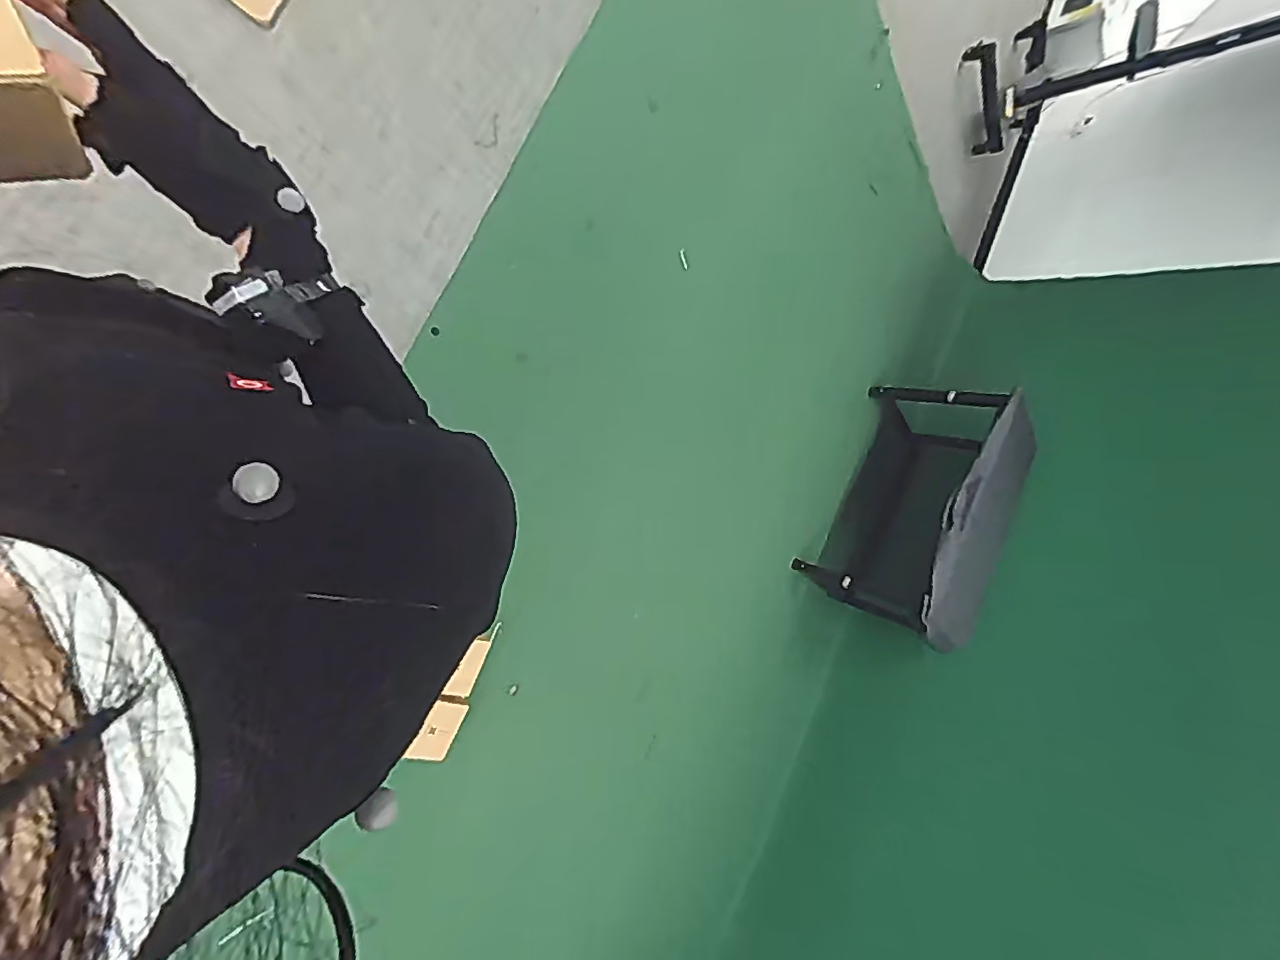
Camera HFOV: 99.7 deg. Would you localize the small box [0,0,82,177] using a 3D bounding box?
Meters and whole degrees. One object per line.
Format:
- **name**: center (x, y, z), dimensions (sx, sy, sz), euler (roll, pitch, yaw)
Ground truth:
- **small box**: center (-0.406, -0.249, 0.240), dimensions (0.168, 0.176, 0.179), euler (-29, 118, -33)
